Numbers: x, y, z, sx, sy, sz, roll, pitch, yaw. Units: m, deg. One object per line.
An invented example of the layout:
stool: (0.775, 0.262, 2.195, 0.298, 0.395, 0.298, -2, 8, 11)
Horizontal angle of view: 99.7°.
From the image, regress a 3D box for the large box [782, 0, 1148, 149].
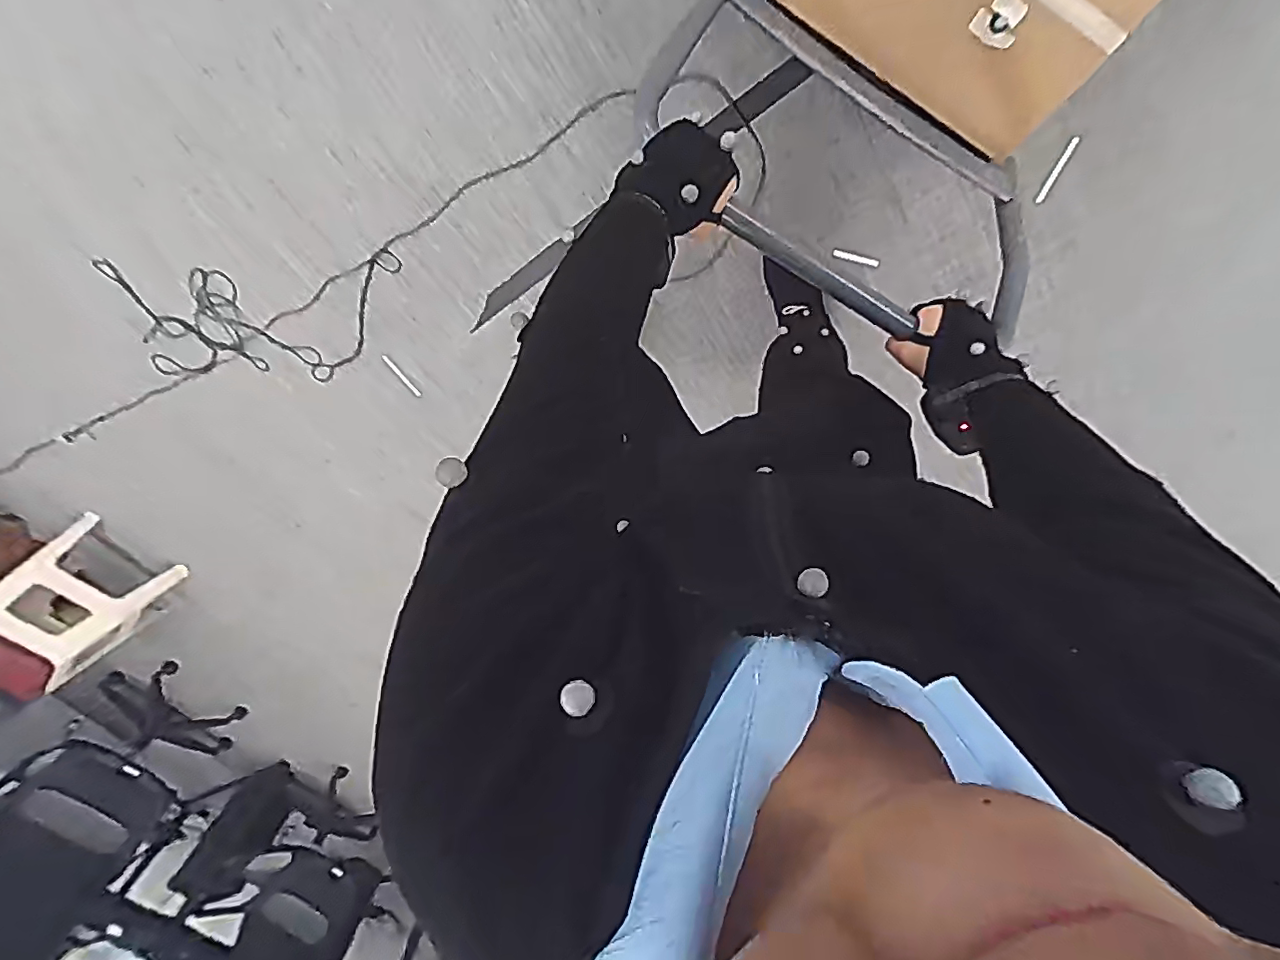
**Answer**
large box: (0.442, -0.743, 0.713, 0.408, 0.320, 0.320, 27, 143, -10)
